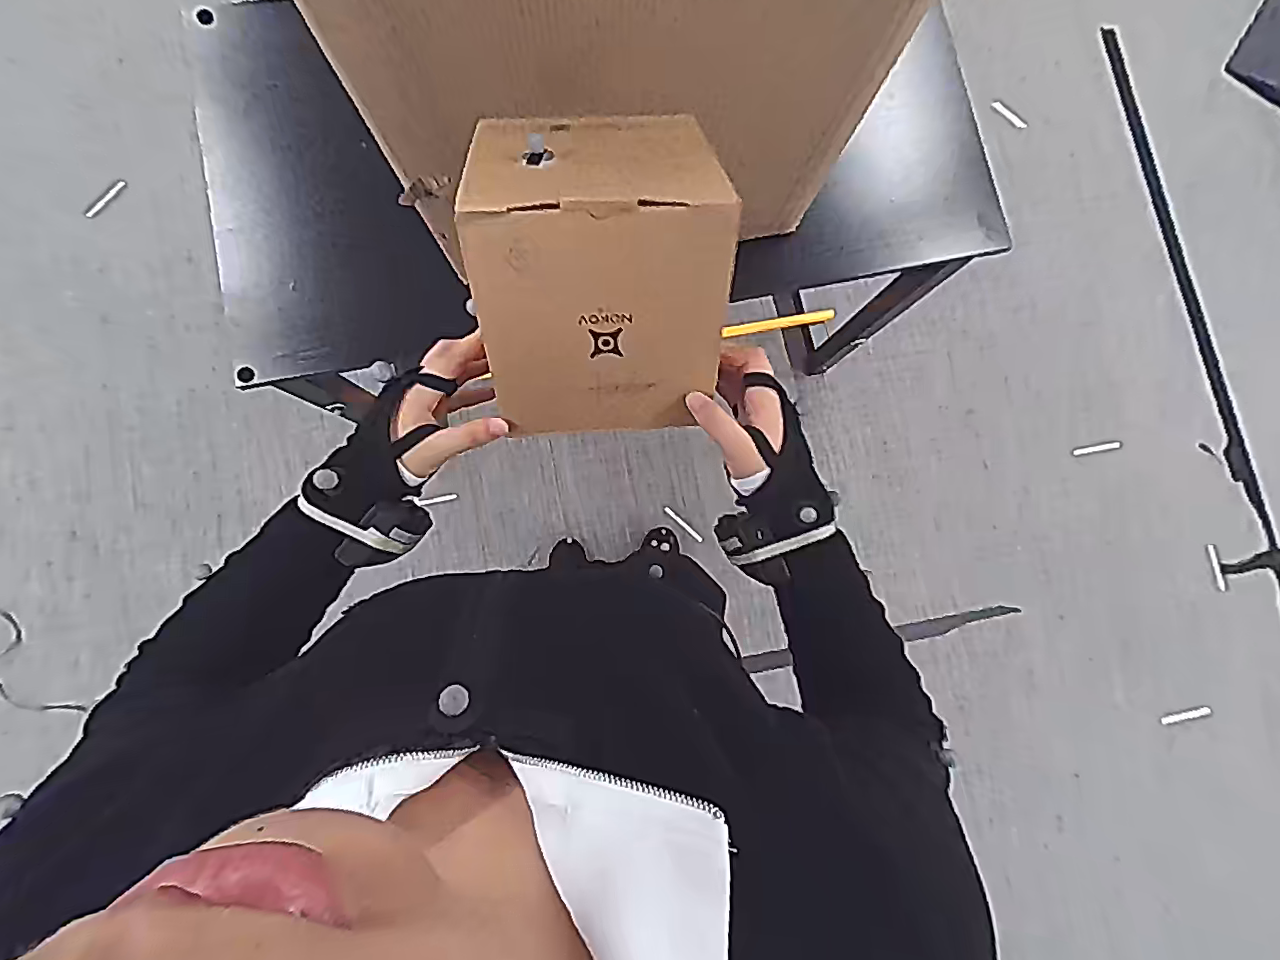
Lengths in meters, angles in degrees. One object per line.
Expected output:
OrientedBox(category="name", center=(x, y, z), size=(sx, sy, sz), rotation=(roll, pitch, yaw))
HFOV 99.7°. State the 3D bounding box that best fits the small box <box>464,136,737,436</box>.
OrientedBox(category="small box", center=(-0.031, -0.158, 0.430), size=(0.168, 0.179, 0.176), rotation=(-4, 46, -4))
